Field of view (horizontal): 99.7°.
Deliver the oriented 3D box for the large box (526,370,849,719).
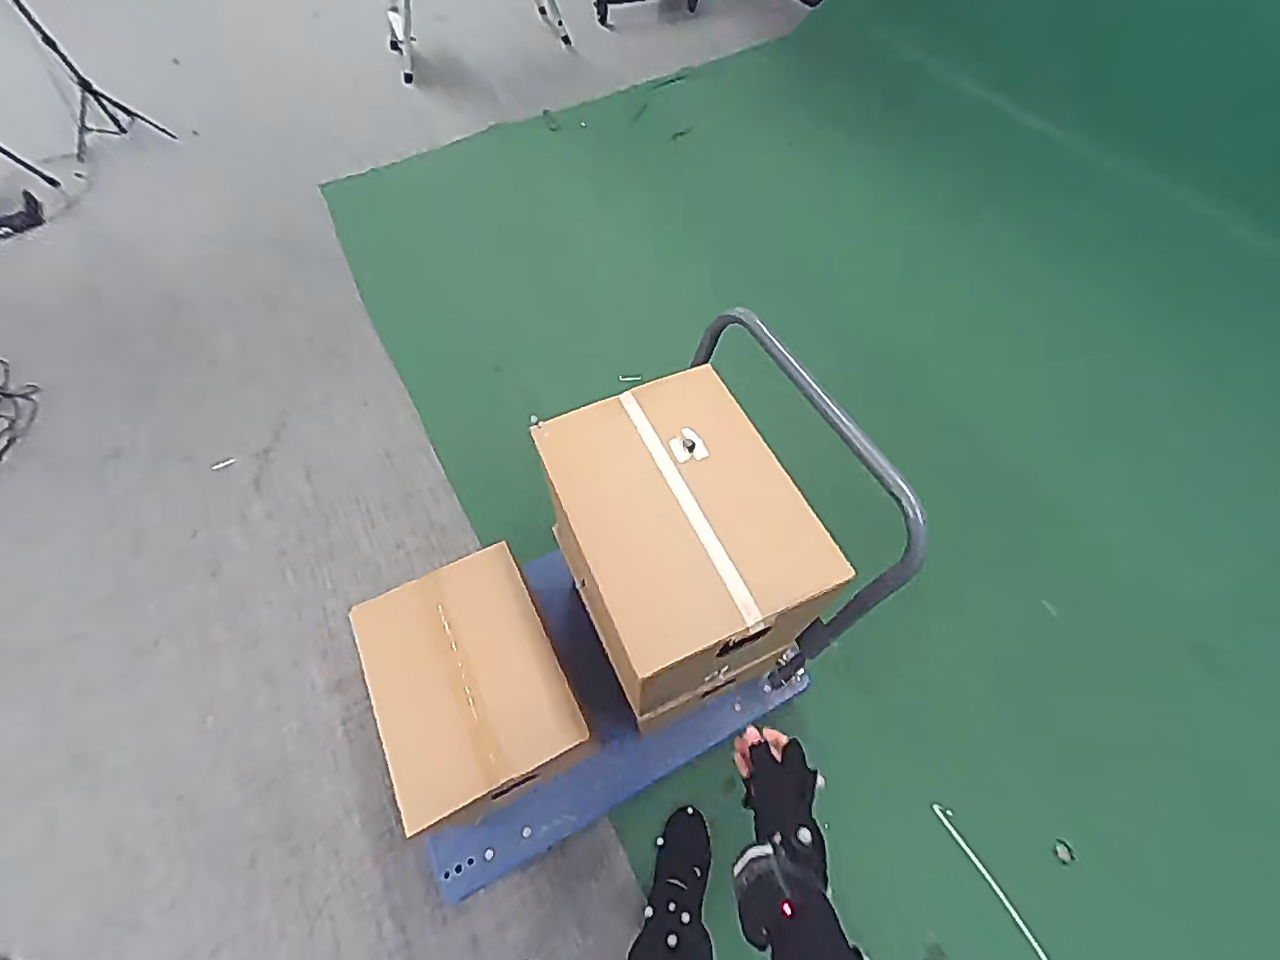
[{"bbox_3d":[0.052,0.105,0.873,0.320,0.320,0.408,-21,59,-13],"label":"large box"}]
